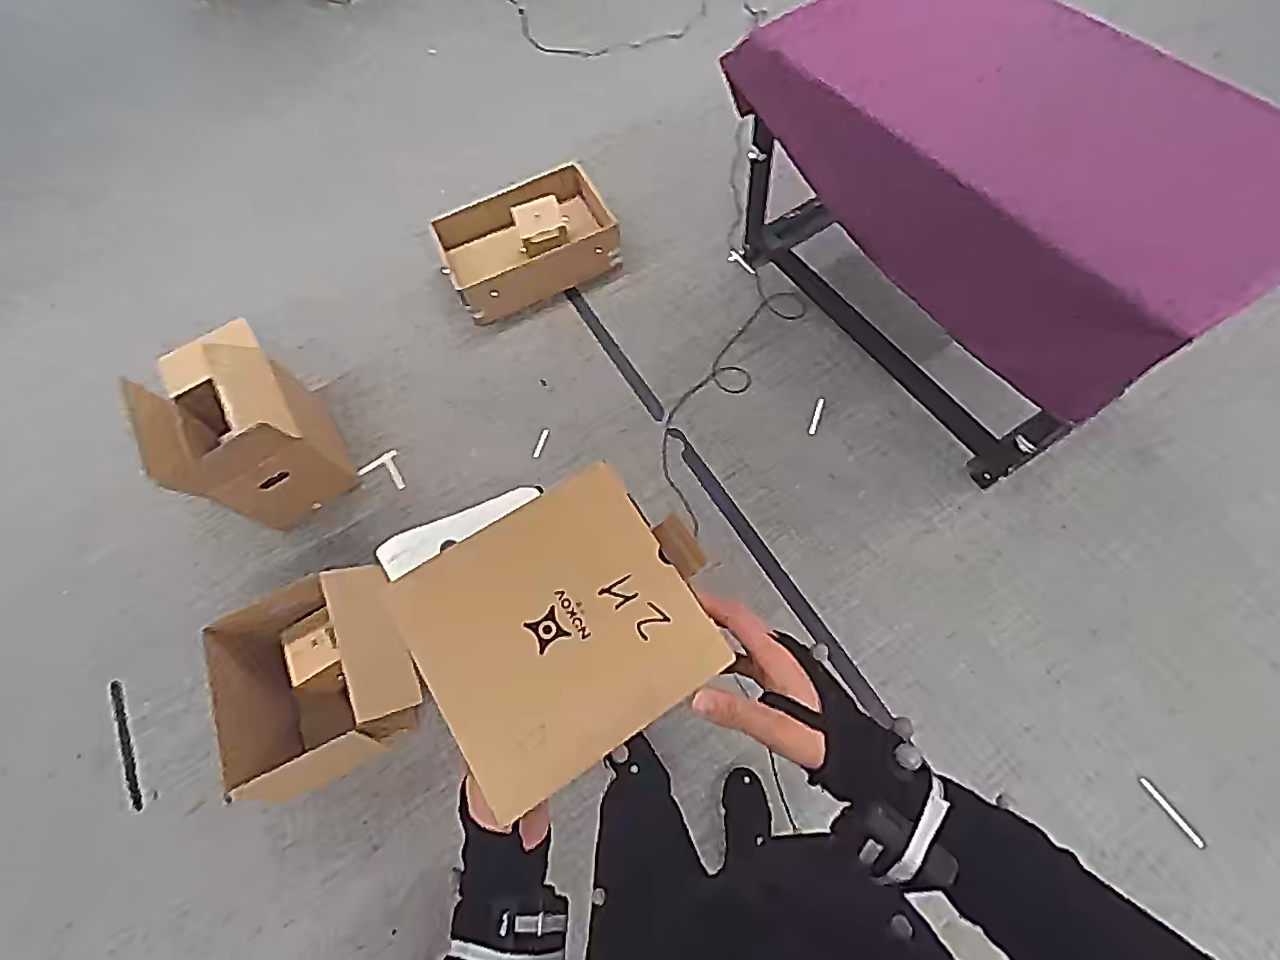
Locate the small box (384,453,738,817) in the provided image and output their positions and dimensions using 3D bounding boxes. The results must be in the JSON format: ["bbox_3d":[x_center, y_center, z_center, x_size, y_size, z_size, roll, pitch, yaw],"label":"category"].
[{"bbox_3d":[-0.054,0.112,0.419,0.179,0.176,0.168,-30,77,-13],"label":"small box"}]

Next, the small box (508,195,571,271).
[{"bbox_3d":[-0.366,-0.902,1.997,0.168,0.176,0.179,-19,66,-2],"label":"small box"}]
